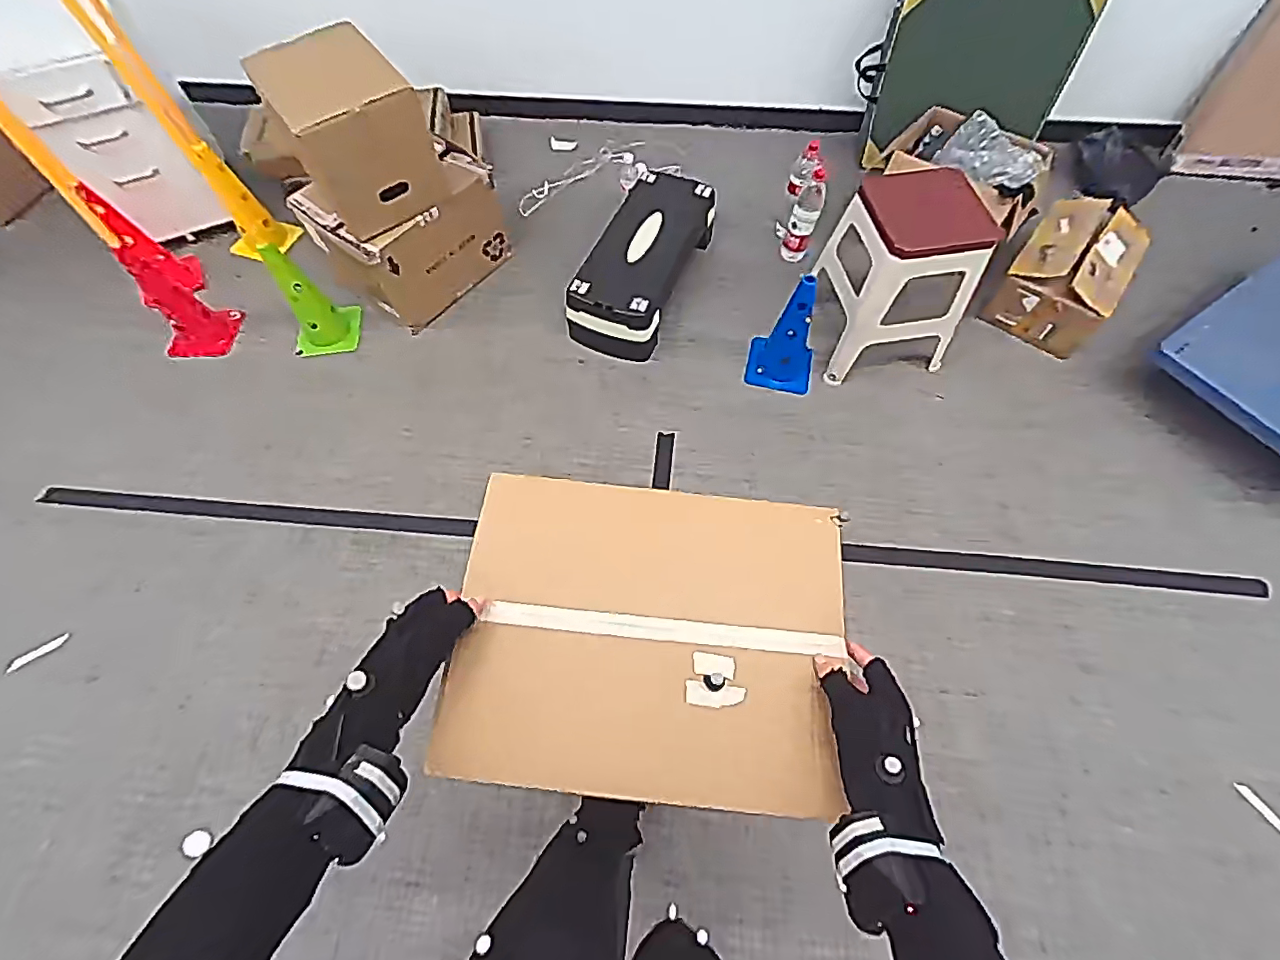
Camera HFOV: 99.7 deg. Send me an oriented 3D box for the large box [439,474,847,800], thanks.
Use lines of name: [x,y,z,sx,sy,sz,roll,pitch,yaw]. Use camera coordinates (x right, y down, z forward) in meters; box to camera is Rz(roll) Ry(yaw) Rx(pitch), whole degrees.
large box: [0.008,0.210,0.713,0.408,0.320,0.320,6,66,0]
